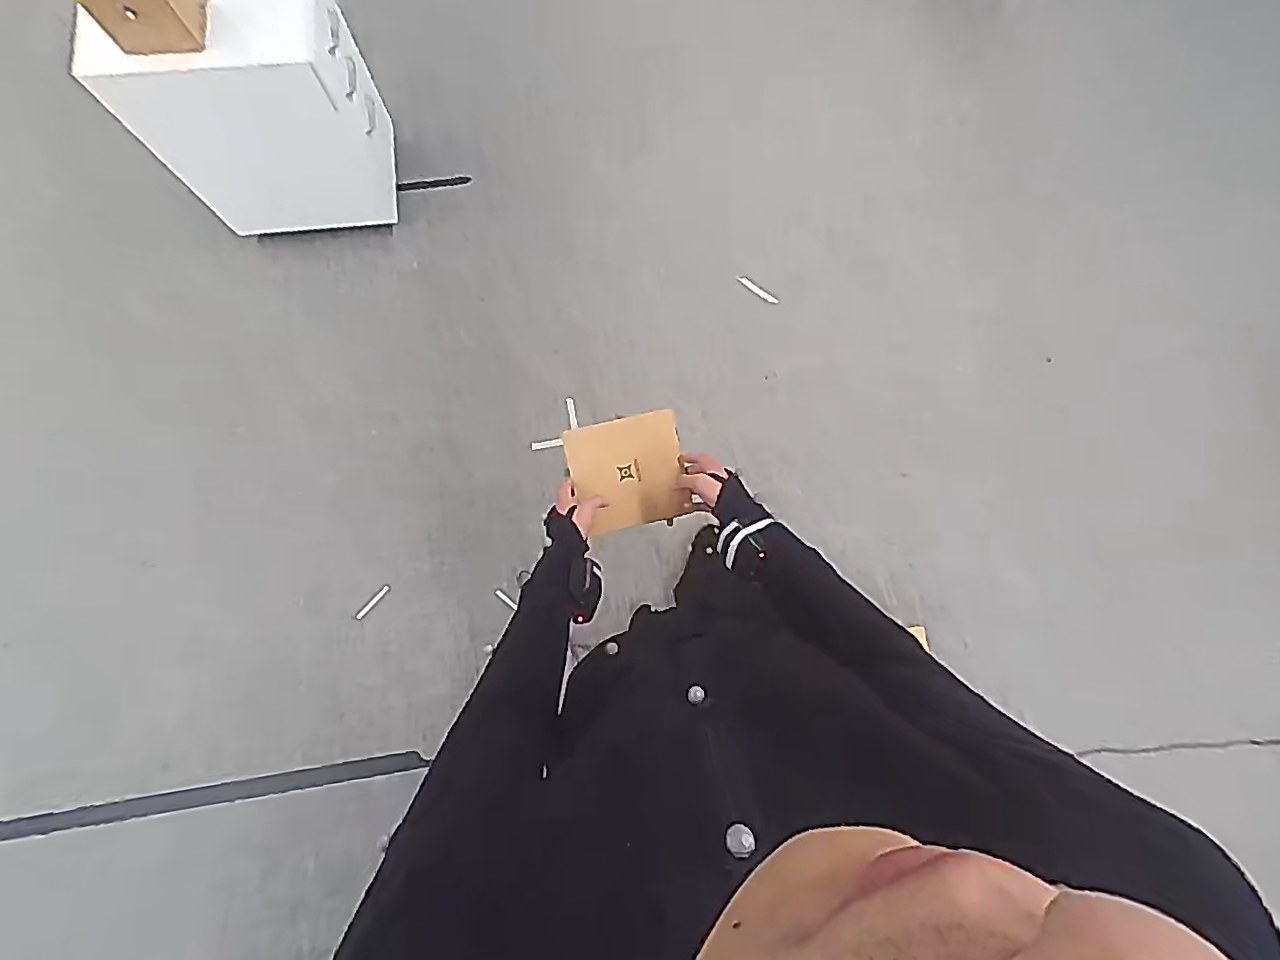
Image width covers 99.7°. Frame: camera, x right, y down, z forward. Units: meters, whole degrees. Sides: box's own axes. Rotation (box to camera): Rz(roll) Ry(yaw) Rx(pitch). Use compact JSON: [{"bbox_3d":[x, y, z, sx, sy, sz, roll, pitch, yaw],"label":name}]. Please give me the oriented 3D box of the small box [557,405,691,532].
[{"bbox_3d":[-0.028,-0.015,0.896,0.179,0.176,0.168,-14,90,-4],"label":"small box"}]
